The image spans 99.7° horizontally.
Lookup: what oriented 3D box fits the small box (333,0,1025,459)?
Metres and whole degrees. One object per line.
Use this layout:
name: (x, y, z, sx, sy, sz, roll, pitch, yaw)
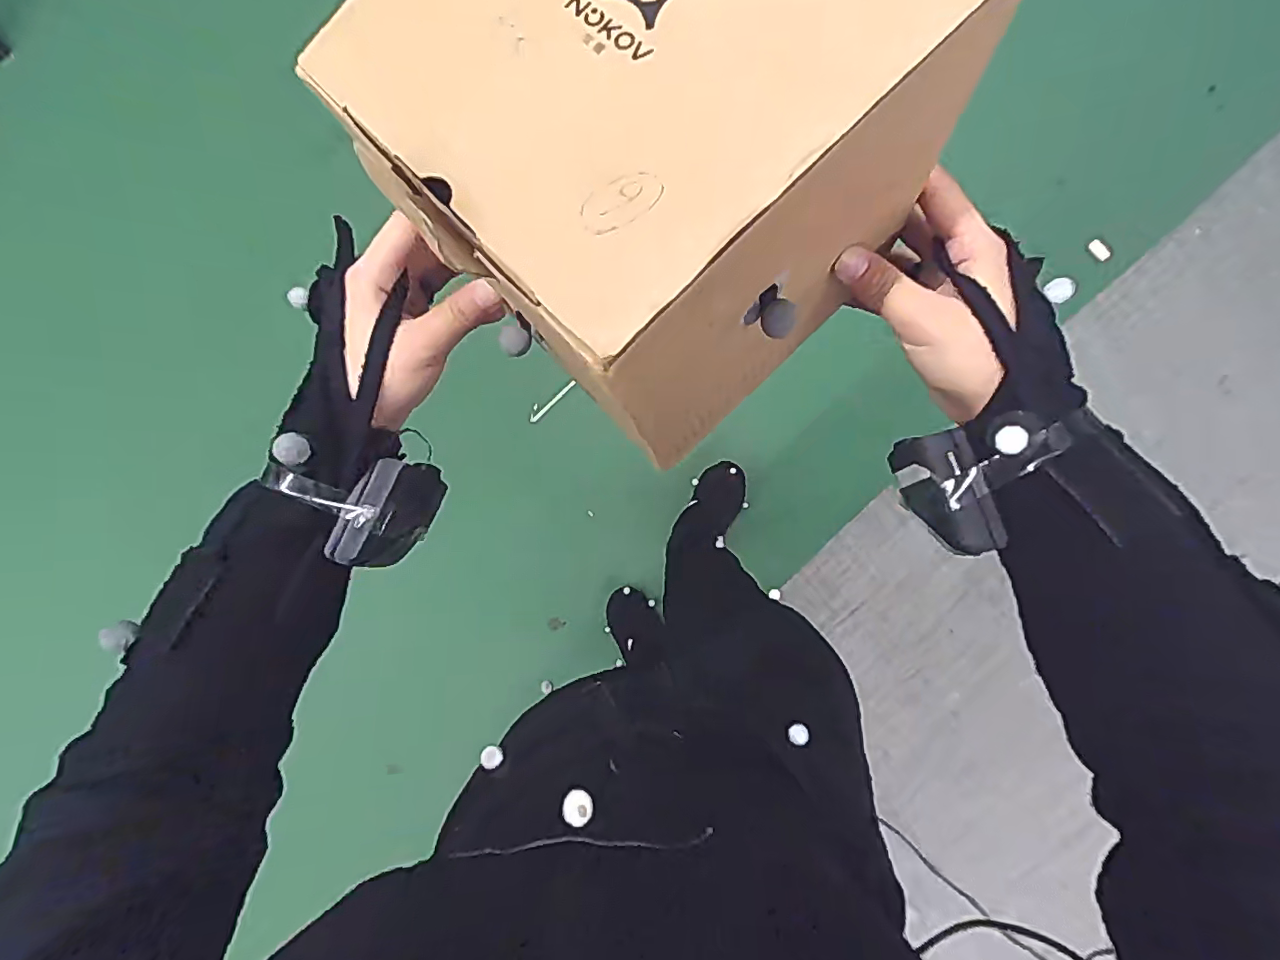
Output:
small box: (0.015, -0.131, 0.255, 0.179, 0.176, 0.168, -43, 78, 1)
